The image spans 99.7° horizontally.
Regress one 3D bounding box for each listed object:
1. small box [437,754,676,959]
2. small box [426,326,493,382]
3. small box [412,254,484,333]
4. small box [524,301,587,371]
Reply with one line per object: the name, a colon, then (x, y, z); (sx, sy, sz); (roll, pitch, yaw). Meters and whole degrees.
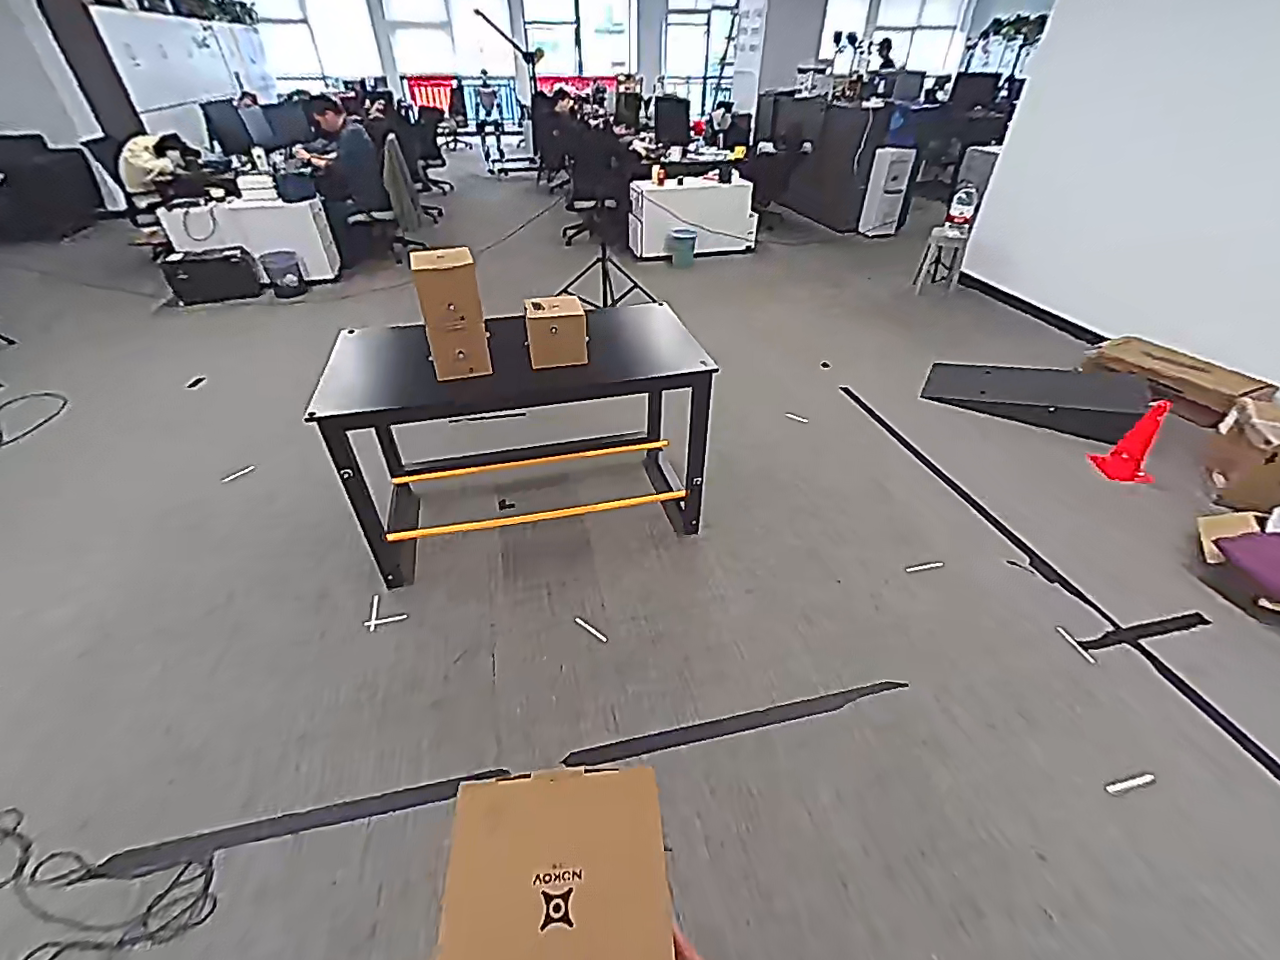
small box: (-0.062, 0.358, 0.455); (0.168, 0.176, 0.179); (-4, 45, -4)
small box: (-0.562, -0.416, 1.689); (0.168, 0.176, 0.179); (-12, 40, -14)
small box: (-0.564, -0.549, 1.590); (0.168, 0.176, 0.179); (-13, 40, -15)
small box: (-0.272, -0.464, 1.748); (0.179, 0.176, 0.168); (-8, 39, -11)
